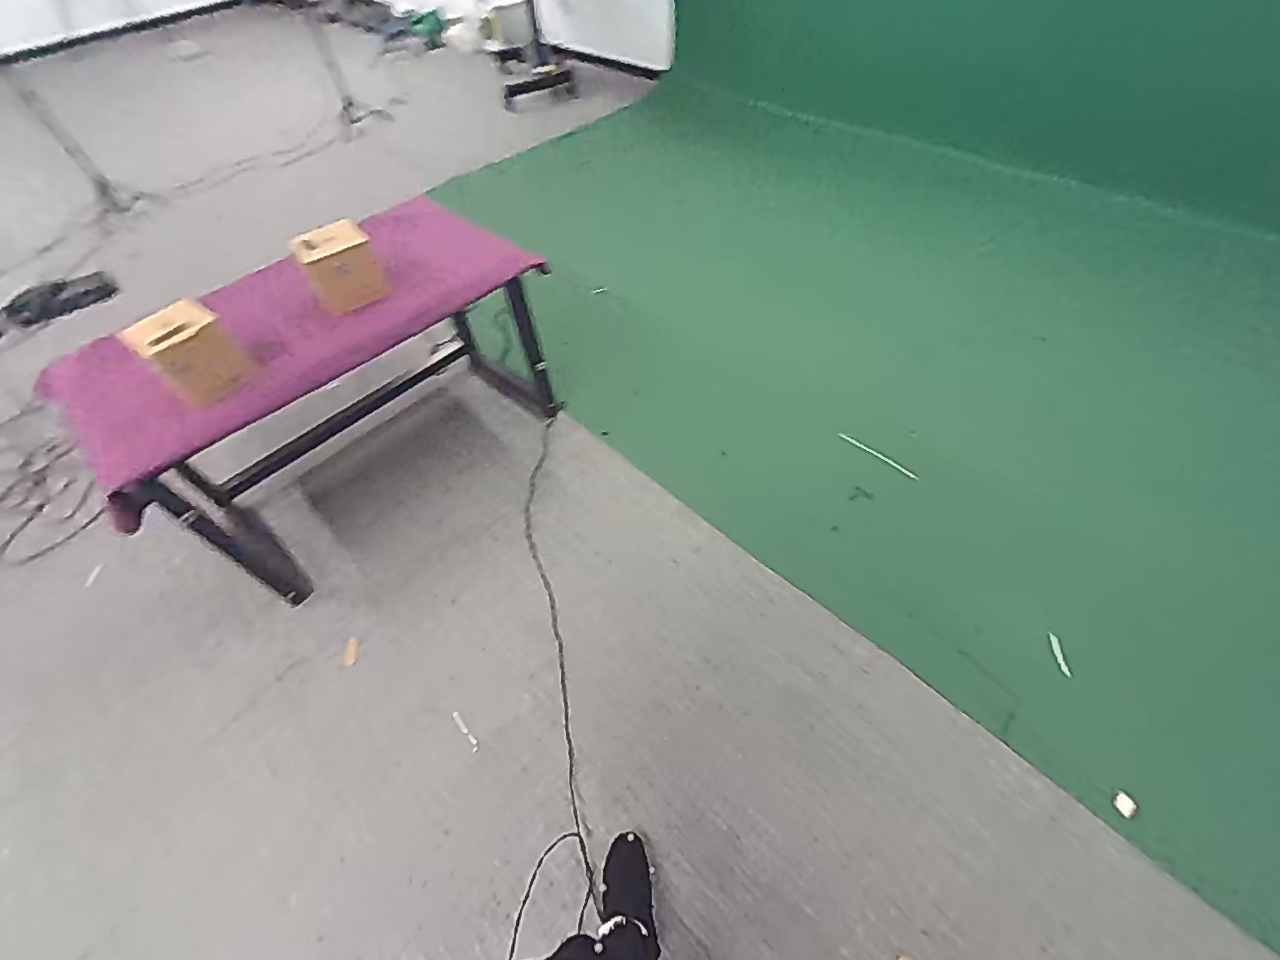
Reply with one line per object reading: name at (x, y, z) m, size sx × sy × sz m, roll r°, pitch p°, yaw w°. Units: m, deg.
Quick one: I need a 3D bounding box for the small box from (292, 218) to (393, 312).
small box at (-0.844, -0.609, 1.545) m, size 0.179 × 0.176 × 0.168 m, roll -33°, pitch 57°, yaw -20°
